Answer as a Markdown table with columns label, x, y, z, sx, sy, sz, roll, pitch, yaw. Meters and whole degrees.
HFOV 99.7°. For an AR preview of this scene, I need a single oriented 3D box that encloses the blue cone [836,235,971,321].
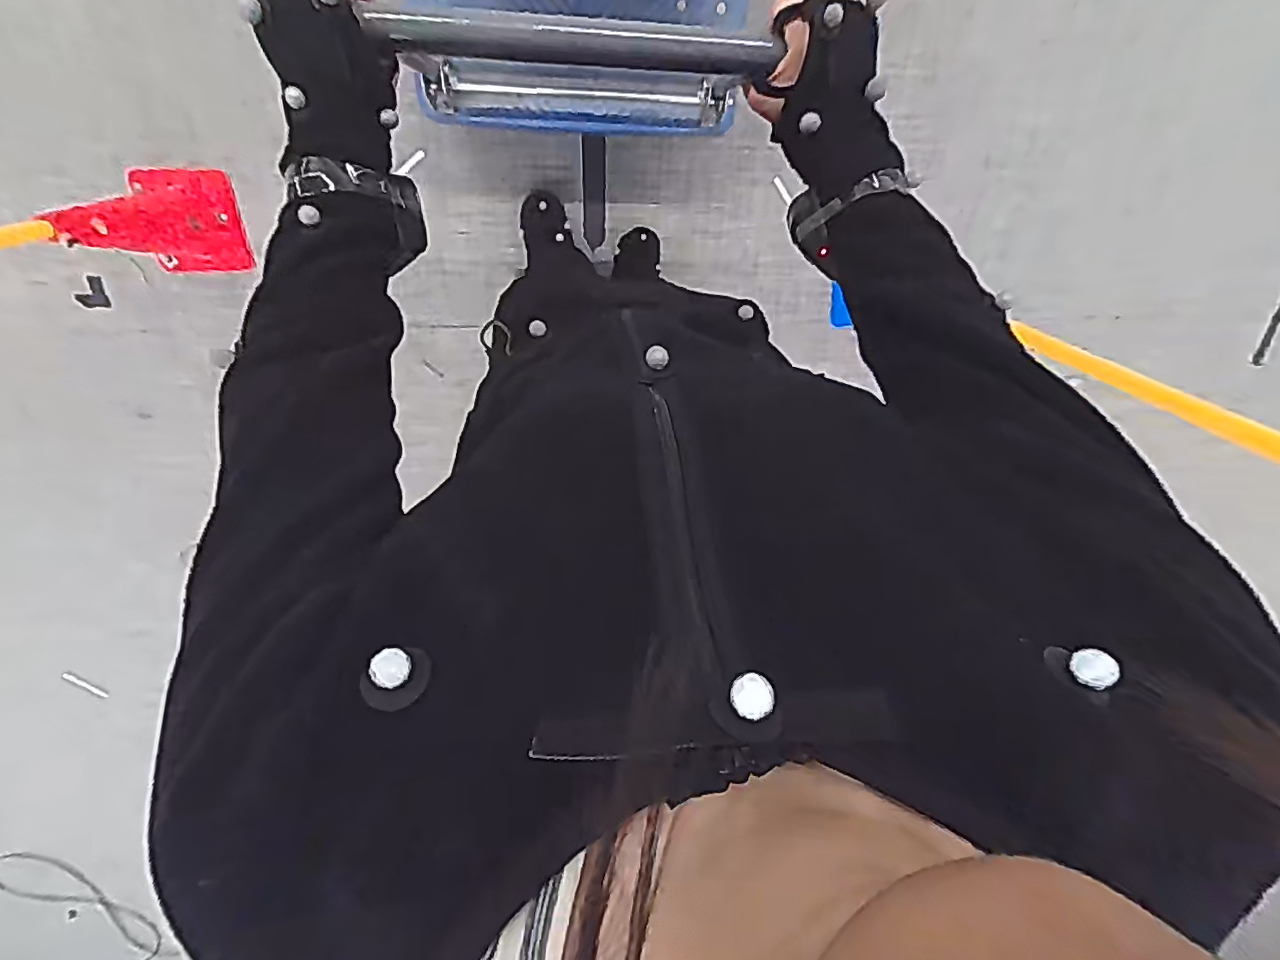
| label | x | y | z | sx | sy | sz | roll | pitch | yaw |
| --- | --- | --- | --- | --- | --- | --- | --- | --- | --- |
| blue cone | 0.593 | -0.425 | 1.186 | 0.193 | 0.380 | 0.192 | -5 | 116 | -3 |
